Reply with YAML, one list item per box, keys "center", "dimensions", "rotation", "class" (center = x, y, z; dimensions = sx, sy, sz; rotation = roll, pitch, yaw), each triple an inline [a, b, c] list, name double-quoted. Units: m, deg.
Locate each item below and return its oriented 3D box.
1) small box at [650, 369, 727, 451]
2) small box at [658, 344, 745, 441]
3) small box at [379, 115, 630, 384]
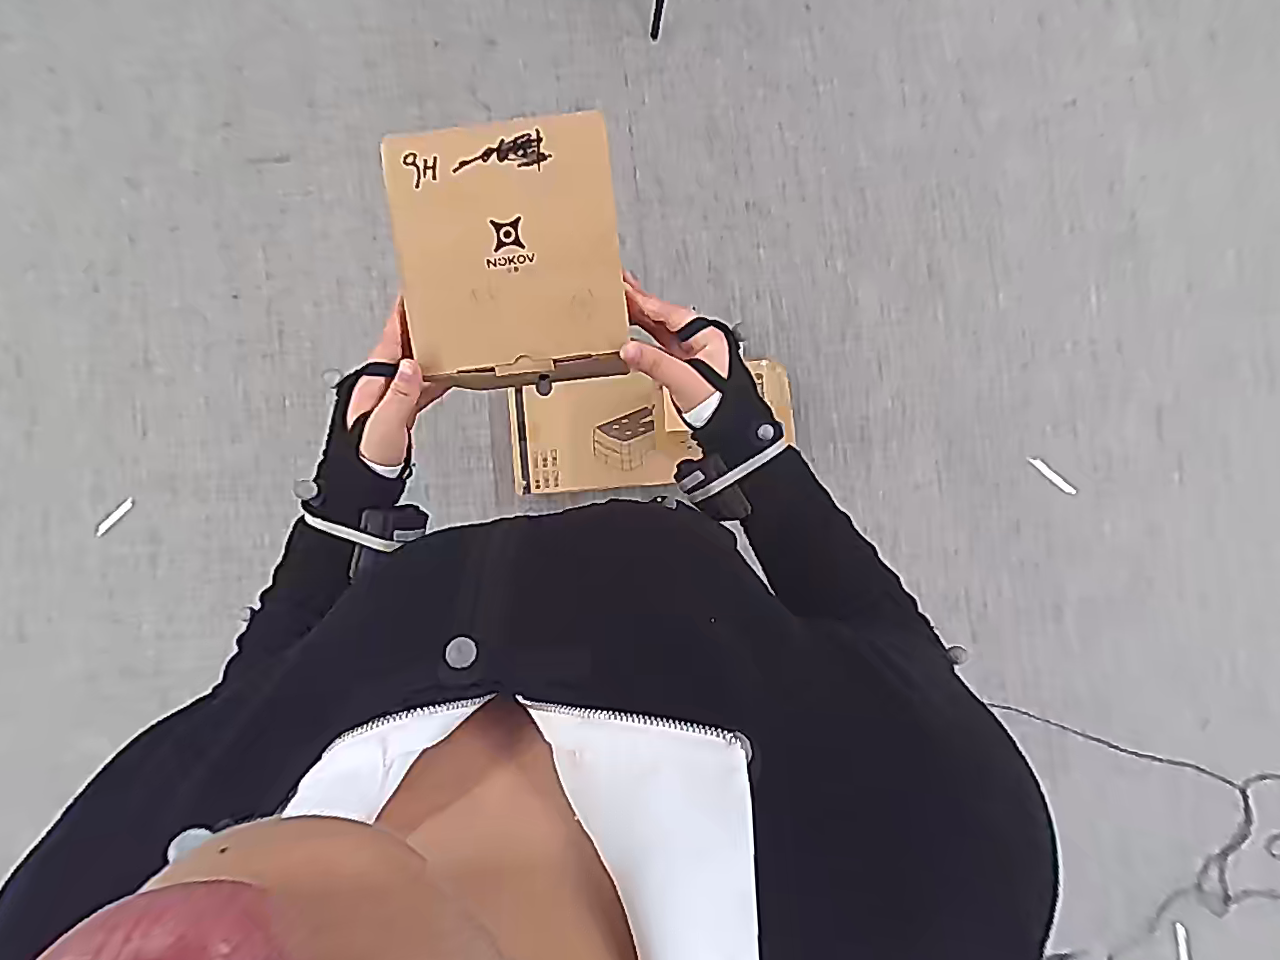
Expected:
- center: [0.116, -0.173, 1.329]
  dimensions: [0.168, 0.176, 0.179]
  rotation: [-6, 87, 0]
  class: "small box"
- center: [0.126, -0.183, 1.165]
  dimensions: [0.168, 0.176, 0.179]
  rotation: [-2, 88, 0]
  class: "small box"
- center: [-0.099, -0.180, 0.479]
  dimensions: [0.168, 0.176, 0.179]
  rotation: [-7, 98, 0]
  class: "small box"
